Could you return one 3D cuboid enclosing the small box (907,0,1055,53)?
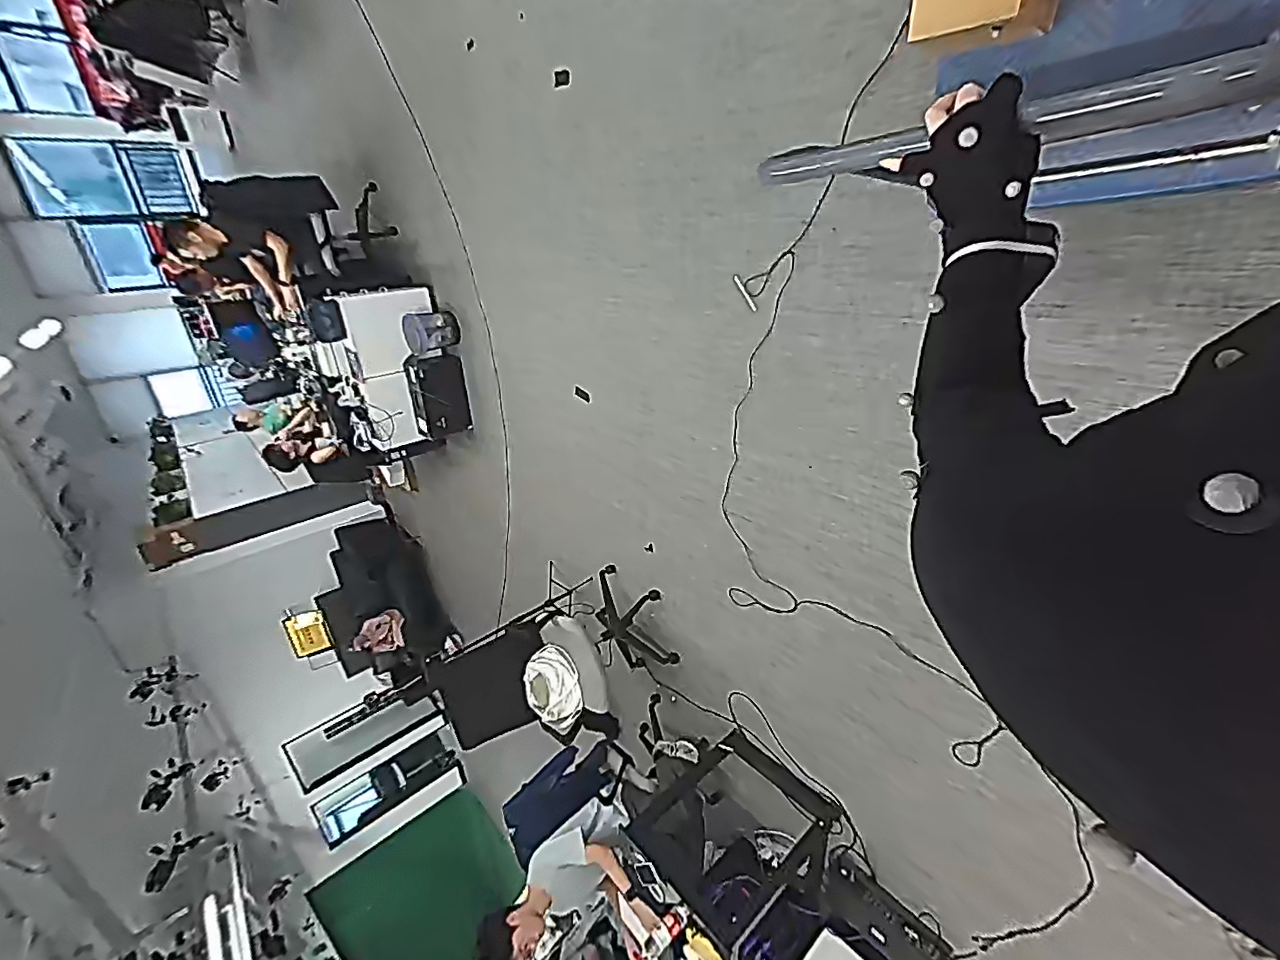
[{"bbox_3d":[0.582,-0.843,0.904,0.179,0.176,0.168,23,126,42],"label":"small box"}]
